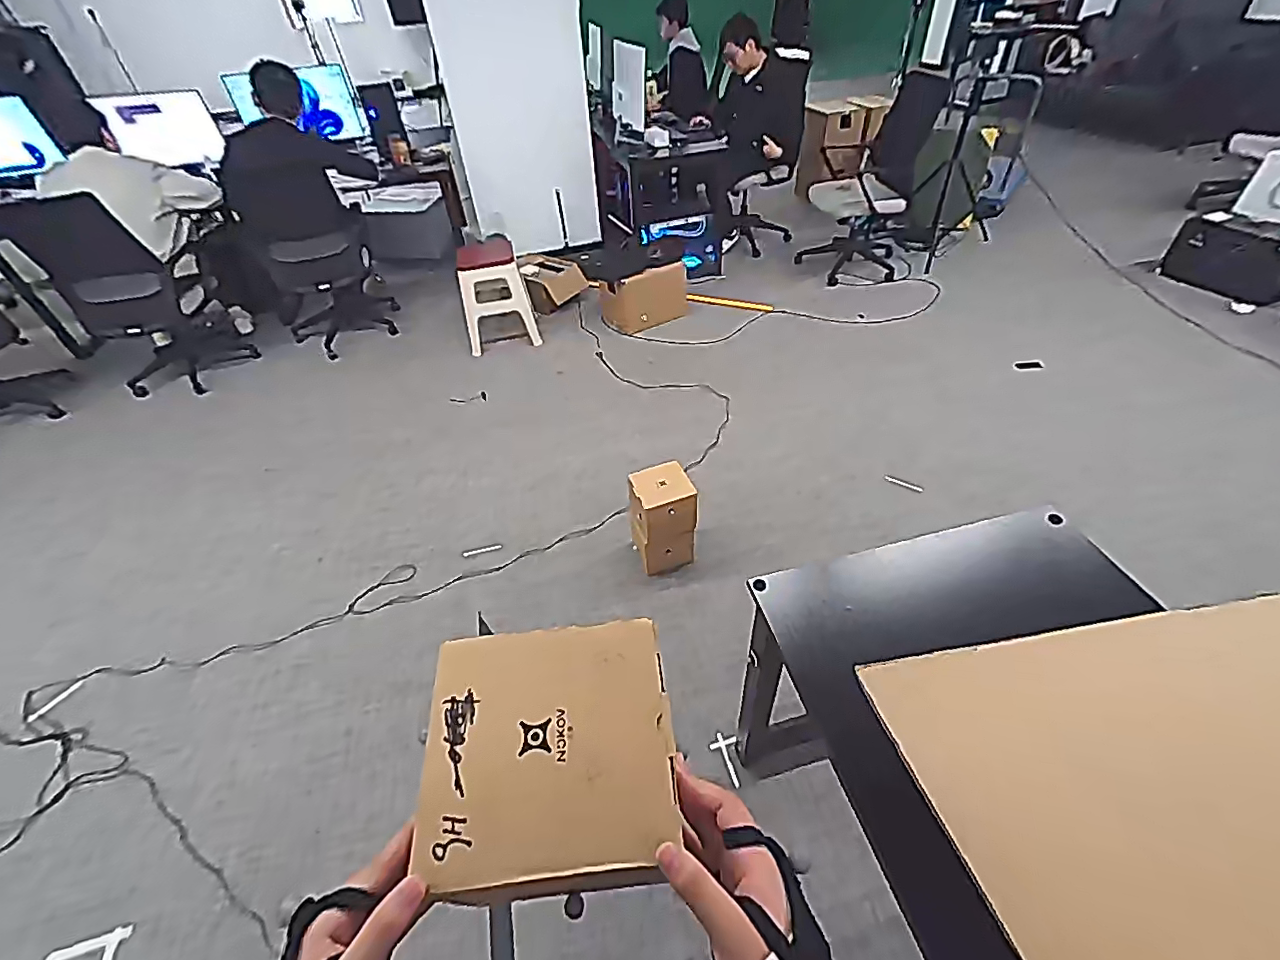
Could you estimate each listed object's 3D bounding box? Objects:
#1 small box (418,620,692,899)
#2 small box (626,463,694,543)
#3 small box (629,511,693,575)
[{"bbox_3d":[-0.059,0.236,0.453,0.179,0.176,0.168,-5,49,-3],"label":"small box"},{"bbox_3d":[0.067,0.078,1.756,0.179,0.176,0.168,-17,45,-13],"label":"small box"},{"bbox_3d":[0.071,0.198,1.867,0.179,0.176,0.168,-16,44,-11],"label":"small box"}]
